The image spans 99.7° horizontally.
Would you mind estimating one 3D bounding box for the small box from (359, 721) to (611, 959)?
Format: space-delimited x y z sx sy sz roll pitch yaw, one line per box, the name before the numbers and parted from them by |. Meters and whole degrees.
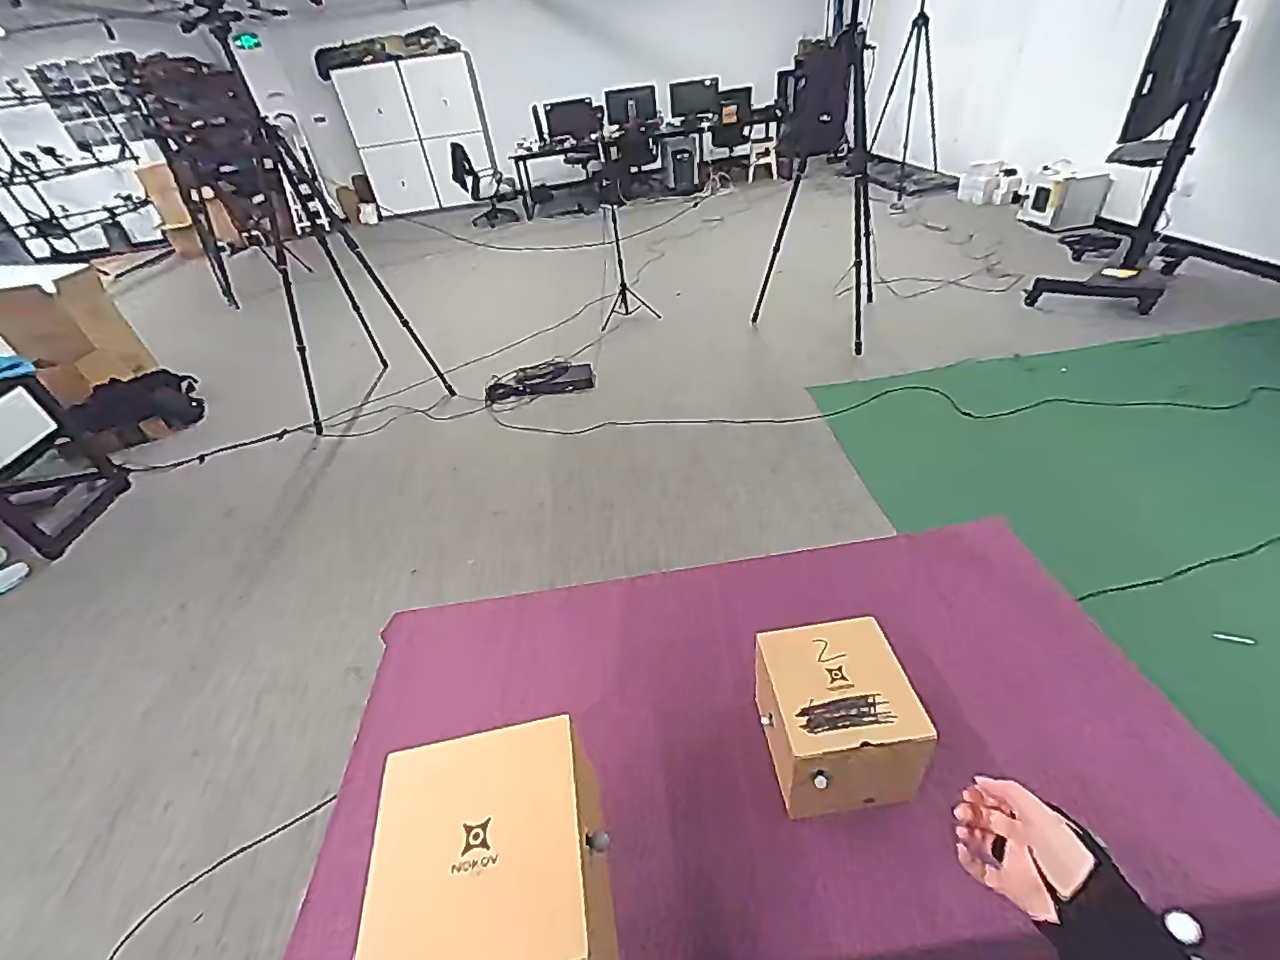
small box | -0.125 0.354 0.490 0.168 0.176 0.179 -11 43 -4
